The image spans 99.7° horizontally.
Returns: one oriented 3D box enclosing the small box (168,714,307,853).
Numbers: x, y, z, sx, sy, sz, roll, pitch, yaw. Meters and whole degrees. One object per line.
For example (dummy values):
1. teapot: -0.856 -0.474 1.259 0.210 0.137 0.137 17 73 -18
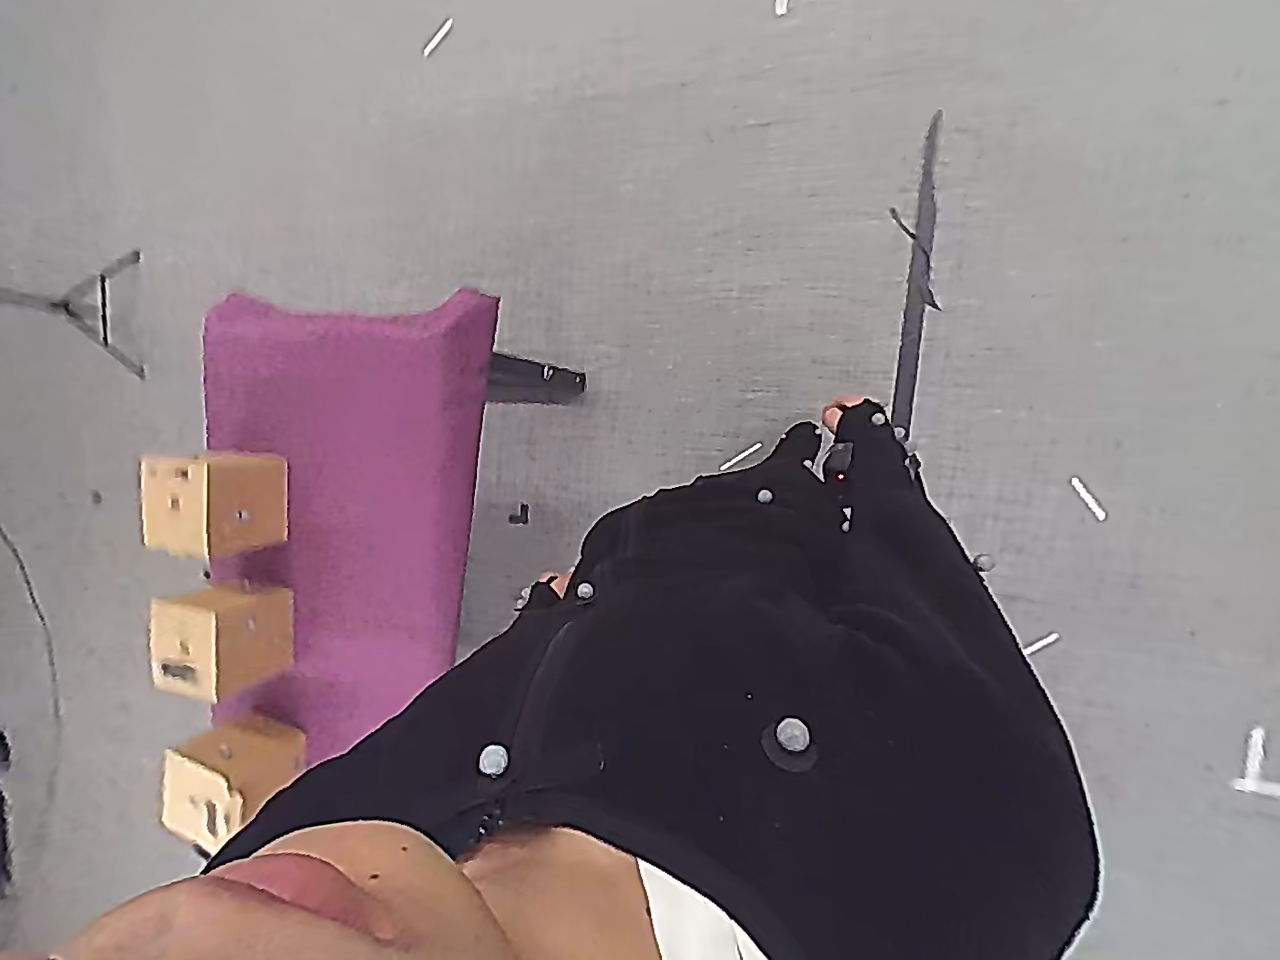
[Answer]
1. small box: -0.835 0.622 1.133 0.179 0.176 0.168 11 98 15
